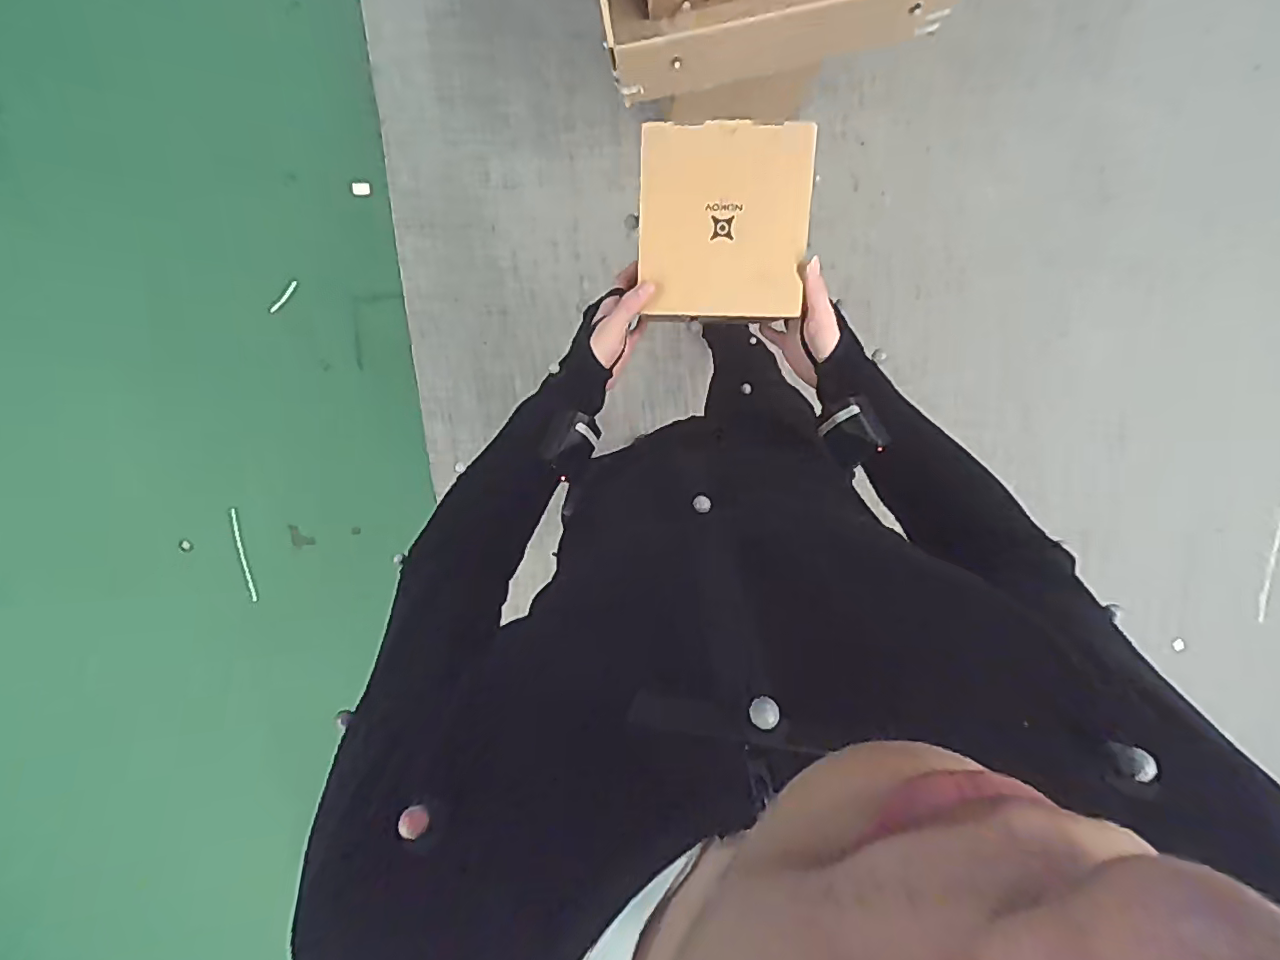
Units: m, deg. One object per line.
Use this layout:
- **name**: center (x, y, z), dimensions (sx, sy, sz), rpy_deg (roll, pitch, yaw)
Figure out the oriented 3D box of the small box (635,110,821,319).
- **small box**: center (0.086, -0.270, 0.587), dimensions (0.168, 0.176, 0.179), rpy_deg (2, 103, 3)
